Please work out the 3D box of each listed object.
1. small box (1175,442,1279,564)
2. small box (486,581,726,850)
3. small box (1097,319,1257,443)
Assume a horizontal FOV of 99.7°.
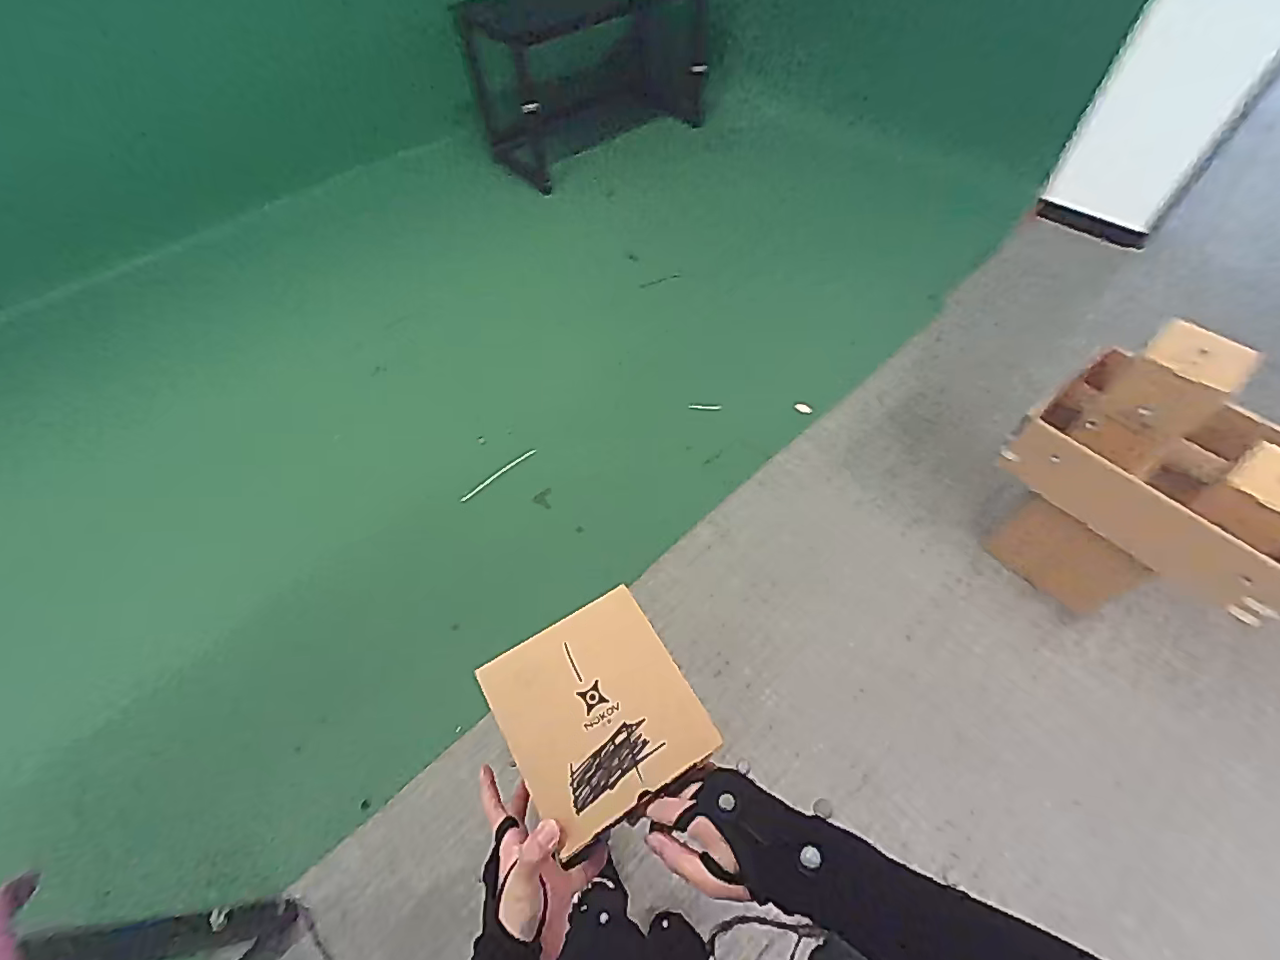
[{"bbox_3d":[1.373,0.055,1.207,0.179,0.176,0.168,-33,61,-17],"label":"small box"},{"bbox_3d":[-0.035,0.237,0.560,0.168,0.176,0.179,-26,65,-16],"label":"small box"},{"bbox_3d":[1.181,-0.218,1.203,0.179,0.176,0.168,-37,61,-20],"label":"small box"}]
